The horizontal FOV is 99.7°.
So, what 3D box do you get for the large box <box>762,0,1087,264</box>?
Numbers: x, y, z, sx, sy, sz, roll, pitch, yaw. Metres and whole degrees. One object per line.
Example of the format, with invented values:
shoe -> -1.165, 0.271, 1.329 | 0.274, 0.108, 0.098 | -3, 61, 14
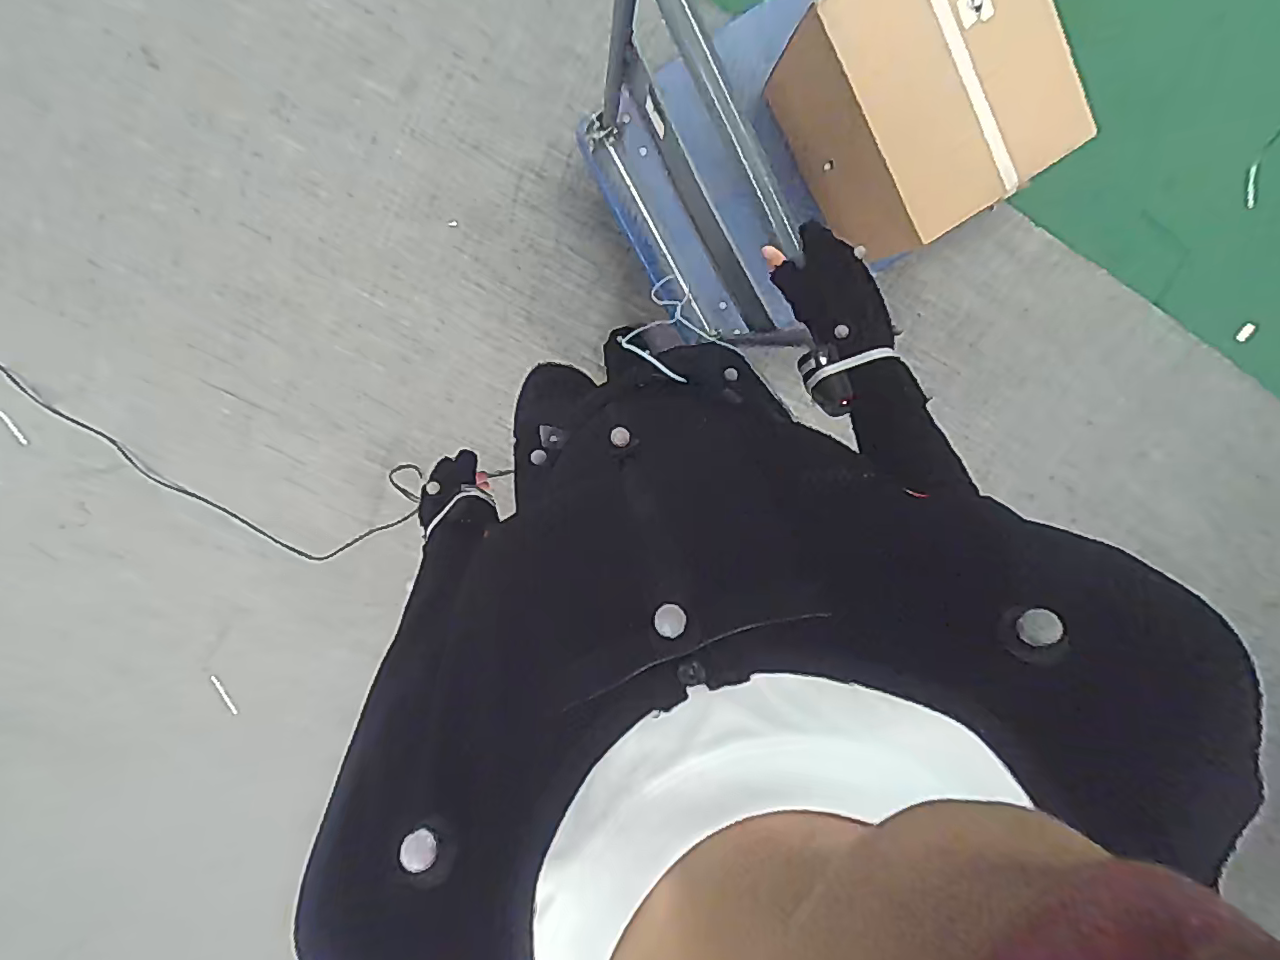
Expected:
large box -> 0.477, -0.668, 0.978 | 0.320, 0.320, 0.408 | -32, 103, 6
